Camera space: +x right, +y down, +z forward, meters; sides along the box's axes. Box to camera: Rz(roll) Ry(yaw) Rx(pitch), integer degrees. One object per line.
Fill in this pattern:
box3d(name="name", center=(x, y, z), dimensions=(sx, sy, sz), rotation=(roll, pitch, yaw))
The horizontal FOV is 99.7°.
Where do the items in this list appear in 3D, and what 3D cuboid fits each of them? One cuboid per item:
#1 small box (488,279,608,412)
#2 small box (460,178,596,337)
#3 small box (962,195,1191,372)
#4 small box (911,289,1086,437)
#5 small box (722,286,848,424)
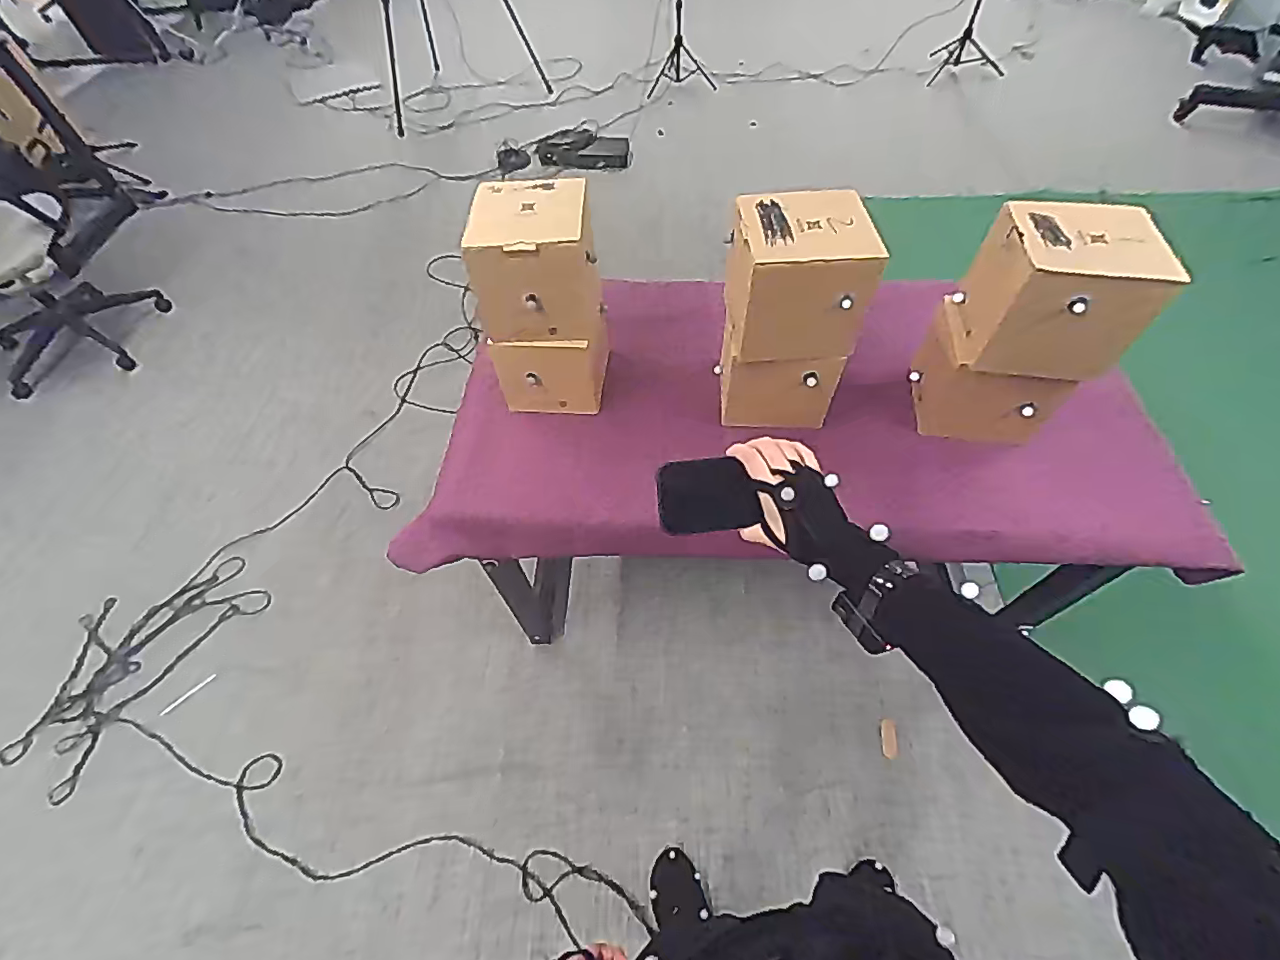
box3d(name="small box", center=(-0.152, -0.237, 0.970), dimensions=(0.168, 0.176, 0.179), rotation=(2, 55, 5))
box3d(name="small box", center=(-0.160, -0.338, 0.840), dimensions=(0.168, 0.176, 0.179), rotation=(-2, 56, 1))
box3d(name="small box", center=(0.573, -0.268, 0.748), dimensions=(0.179, 0.176, 0.168), rotation=(7, 56, 7))
box3d(name="small box", center=(0.573, -0.188, 0.891), dimensions=(0.179, 0.176, 0.168), rotation=(7, 55, 9))
box3d(name="small box", center=(0.236, -0.209, 0.926), dimensions=(0.179, 0.176, 0.168), rotation=(2, 55, 5))
